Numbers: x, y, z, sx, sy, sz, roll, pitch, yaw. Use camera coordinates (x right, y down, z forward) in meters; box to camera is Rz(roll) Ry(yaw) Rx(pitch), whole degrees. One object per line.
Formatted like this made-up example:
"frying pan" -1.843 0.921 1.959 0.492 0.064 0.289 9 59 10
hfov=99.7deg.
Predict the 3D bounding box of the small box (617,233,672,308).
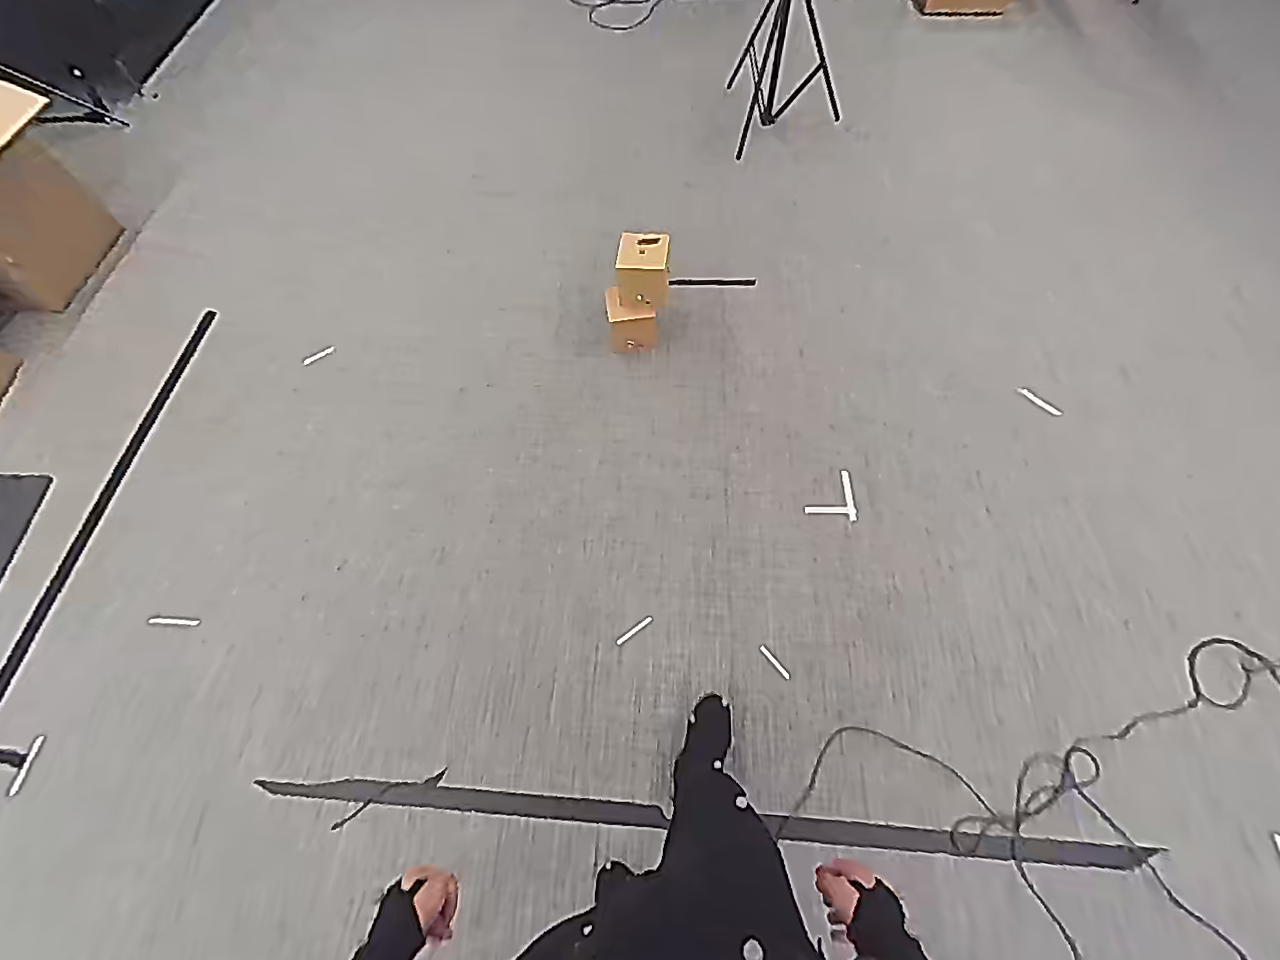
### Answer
"small box" 0.021 -0.719 1.858 0.168 0.176 0.179 5 63 6

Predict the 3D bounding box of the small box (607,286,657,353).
"small box" -0.028 -0.592 1.978 0.168 0.176 0.179 -8 62 -1
